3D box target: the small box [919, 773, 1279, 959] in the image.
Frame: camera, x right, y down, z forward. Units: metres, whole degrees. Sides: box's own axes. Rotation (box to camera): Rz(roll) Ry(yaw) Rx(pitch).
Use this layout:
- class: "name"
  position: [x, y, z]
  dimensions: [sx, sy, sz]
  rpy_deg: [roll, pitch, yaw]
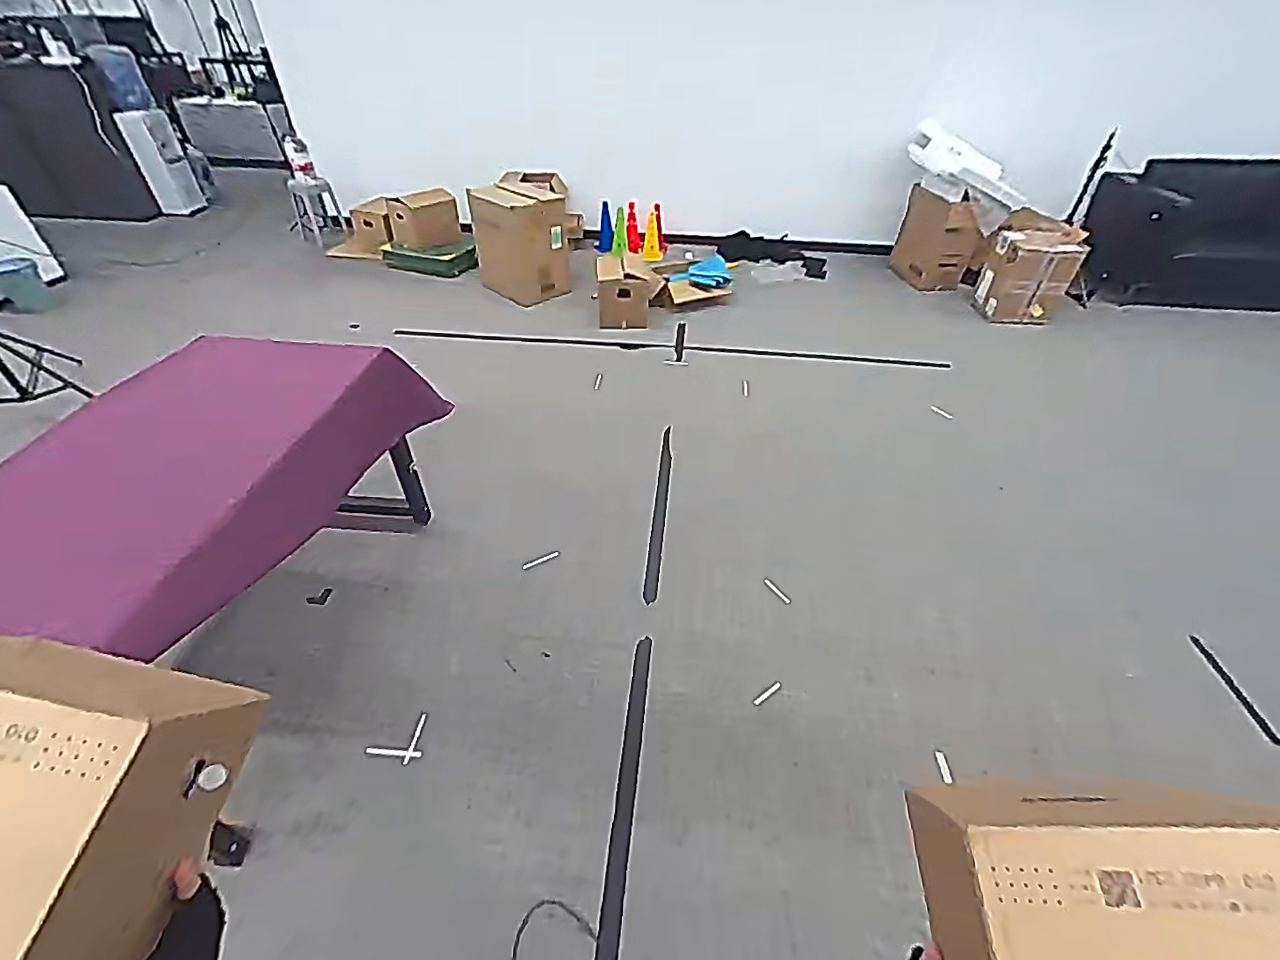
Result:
- class: "small box"
  position: [0.272, 0.267, 0.299]
  dimensions: [0.168, 0.179, 0.176]
  rpy_deg: [-7, 66, 13]

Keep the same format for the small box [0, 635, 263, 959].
- class: "small box"
  position: [-0.349, 0.181, 0.286]
  dimensions: [0.168, 0.179, 0.176]
  rpy_deg: [20, 68, -10]
